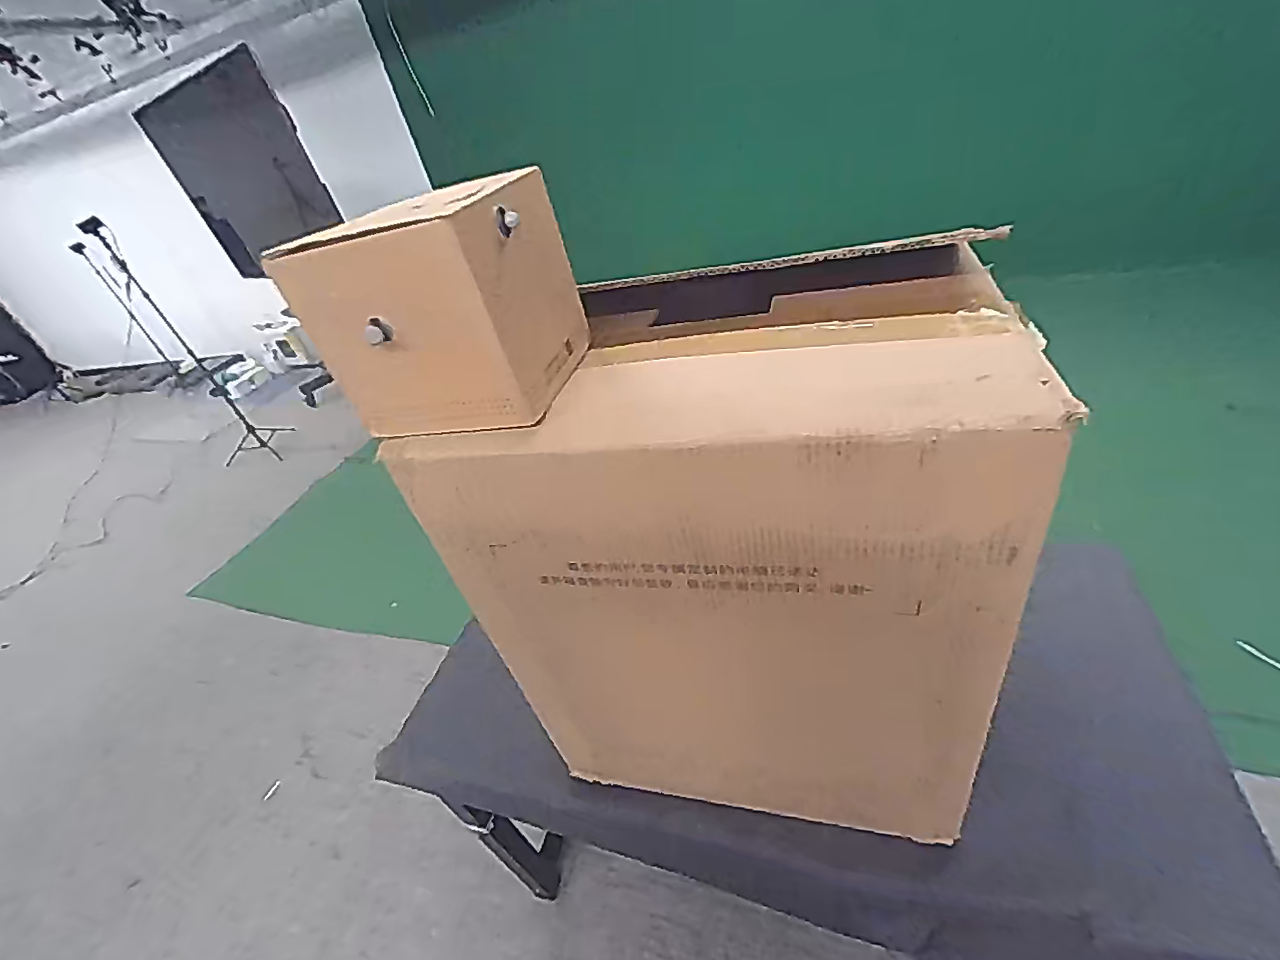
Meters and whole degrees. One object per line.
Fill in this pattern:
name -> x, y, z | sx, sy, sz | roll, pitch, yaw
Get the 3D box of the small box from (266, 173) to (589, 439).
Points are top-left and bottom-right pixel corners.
small box -> -0.168, -0.150, 0.488 | 0.179, 0.176, 0.168 | -3, 39, 19
